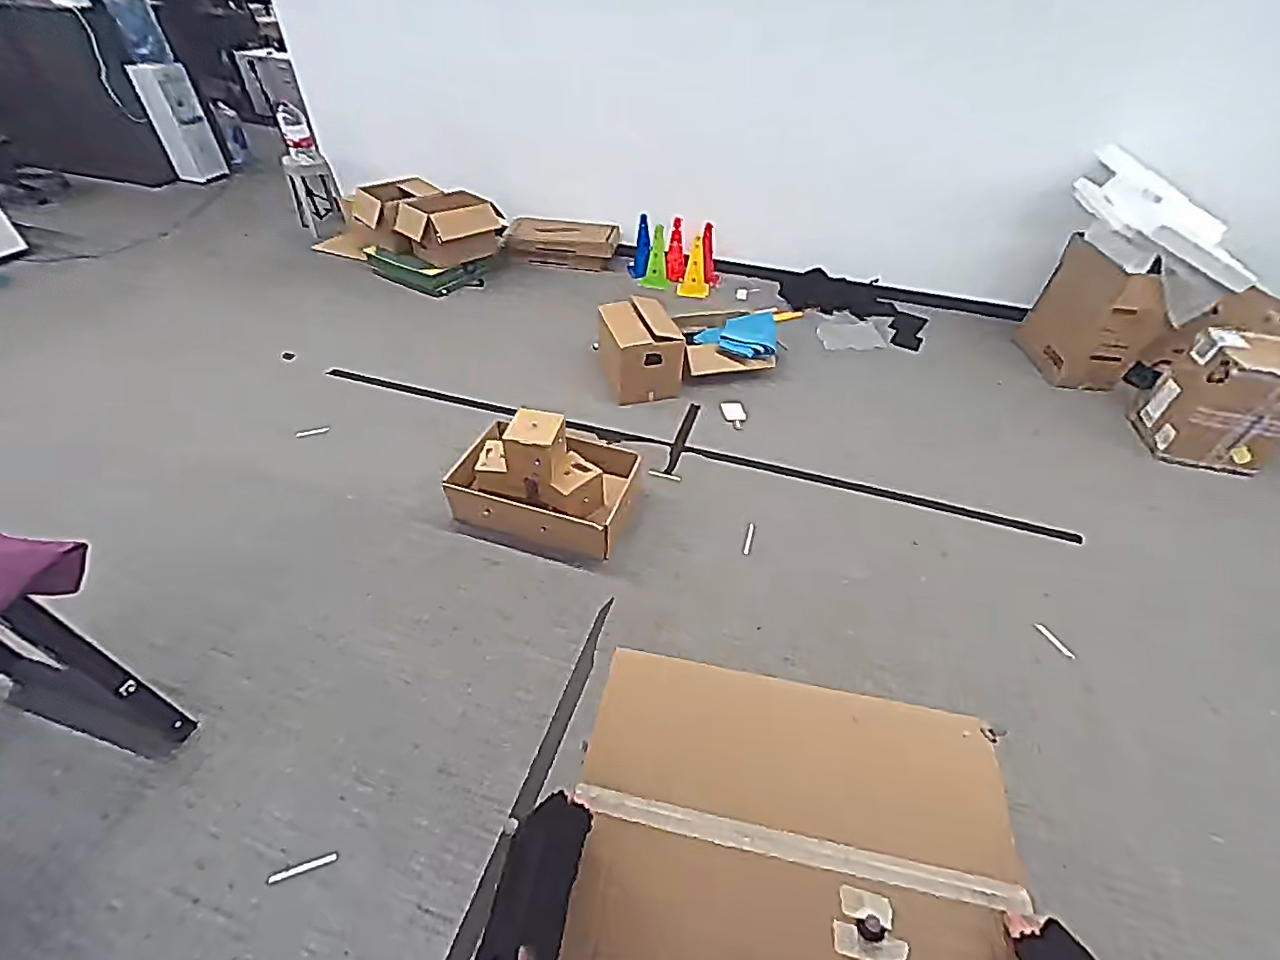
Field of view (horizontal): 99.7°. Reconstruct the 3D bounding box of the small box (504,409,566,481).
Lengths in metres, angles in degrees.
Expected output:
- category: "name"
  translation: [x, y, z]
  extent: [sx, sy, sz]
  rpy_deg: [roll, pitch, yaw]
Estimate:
- category: "small box"
  translation: [-0.354, -0.120, 1.869]
  extent: [0.168, 0.176, 0.179]
  rpy_deg: [10, 43, 5]
